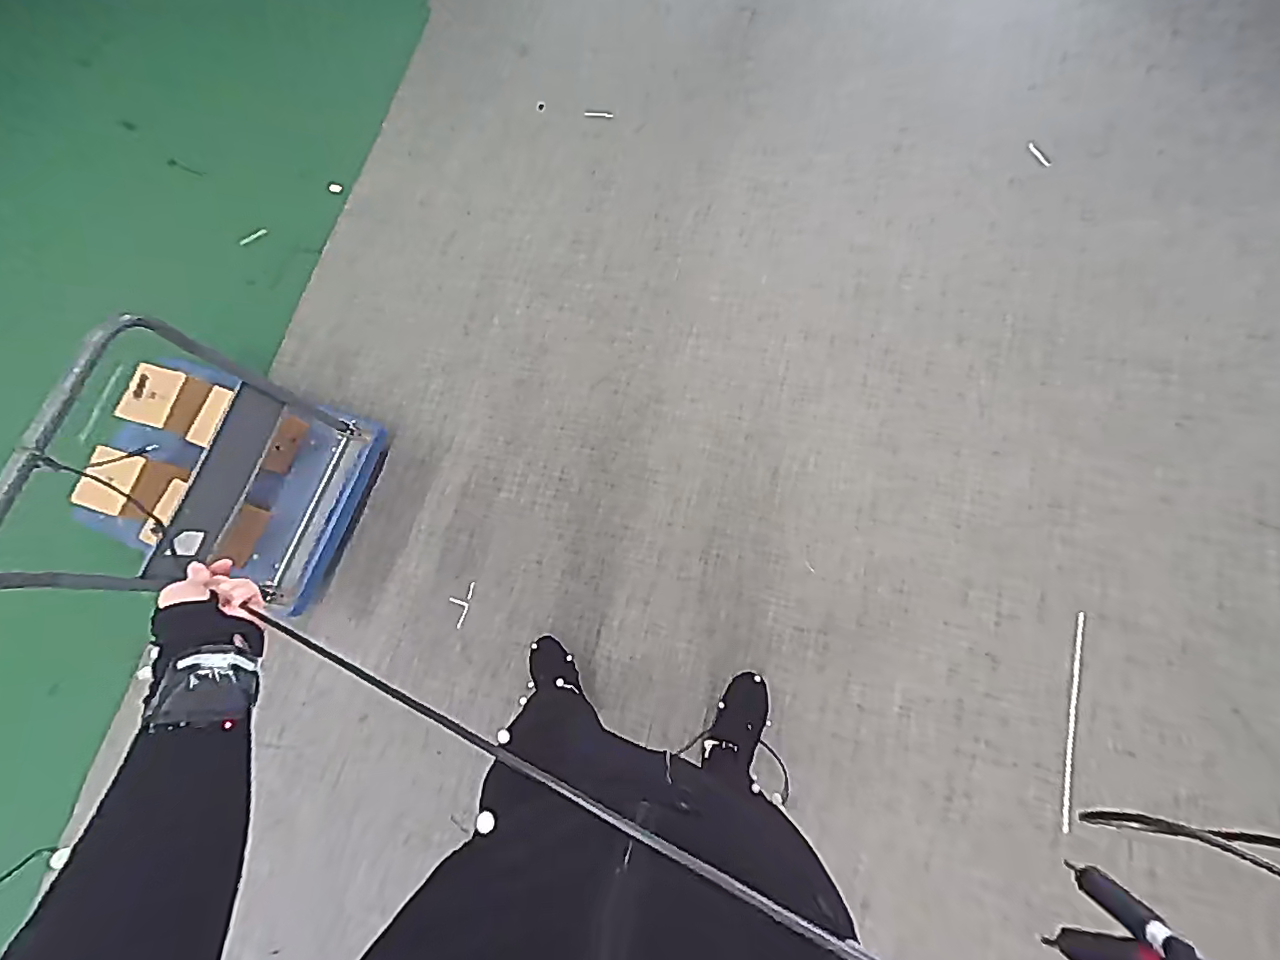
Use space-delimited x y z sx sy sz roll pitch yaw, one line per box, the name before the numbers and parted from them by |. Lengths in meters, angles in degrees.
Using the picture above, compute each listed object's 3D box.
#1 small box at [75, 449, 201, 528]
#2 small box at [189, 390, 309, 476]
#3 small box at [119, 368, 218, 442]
small box | -1.407 0.031 1.530 0.179 0.176 0.168 14 77 13
small box | -1.088 -0.126 1.518 0.179 0.176 0.168 19 79 14
small box | -1.338 -0.206 1.581 0.179 0.176 0.168 14 79 12
